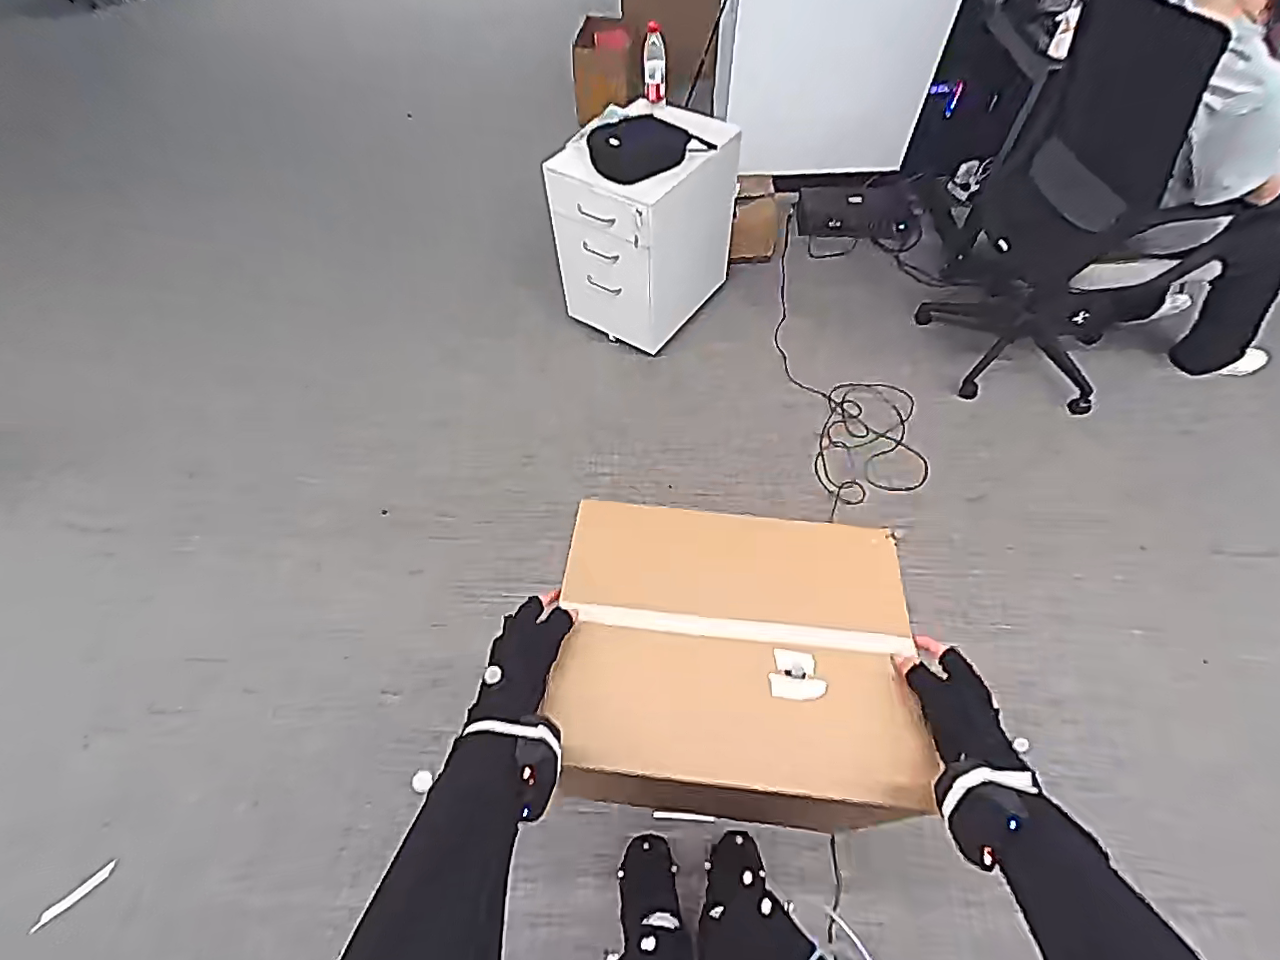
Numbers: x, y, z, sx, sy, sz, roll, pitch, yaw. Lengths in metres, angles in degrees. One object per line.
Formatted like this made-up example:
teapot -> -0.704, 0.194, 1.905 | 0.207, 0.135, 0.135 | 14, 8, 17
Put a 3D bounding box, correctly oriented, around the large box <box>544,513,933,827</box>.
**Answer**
large box -> 0.105, 0.271, 0.752 | 0.408, 0.320, 0.320 | 6, 54, 2
